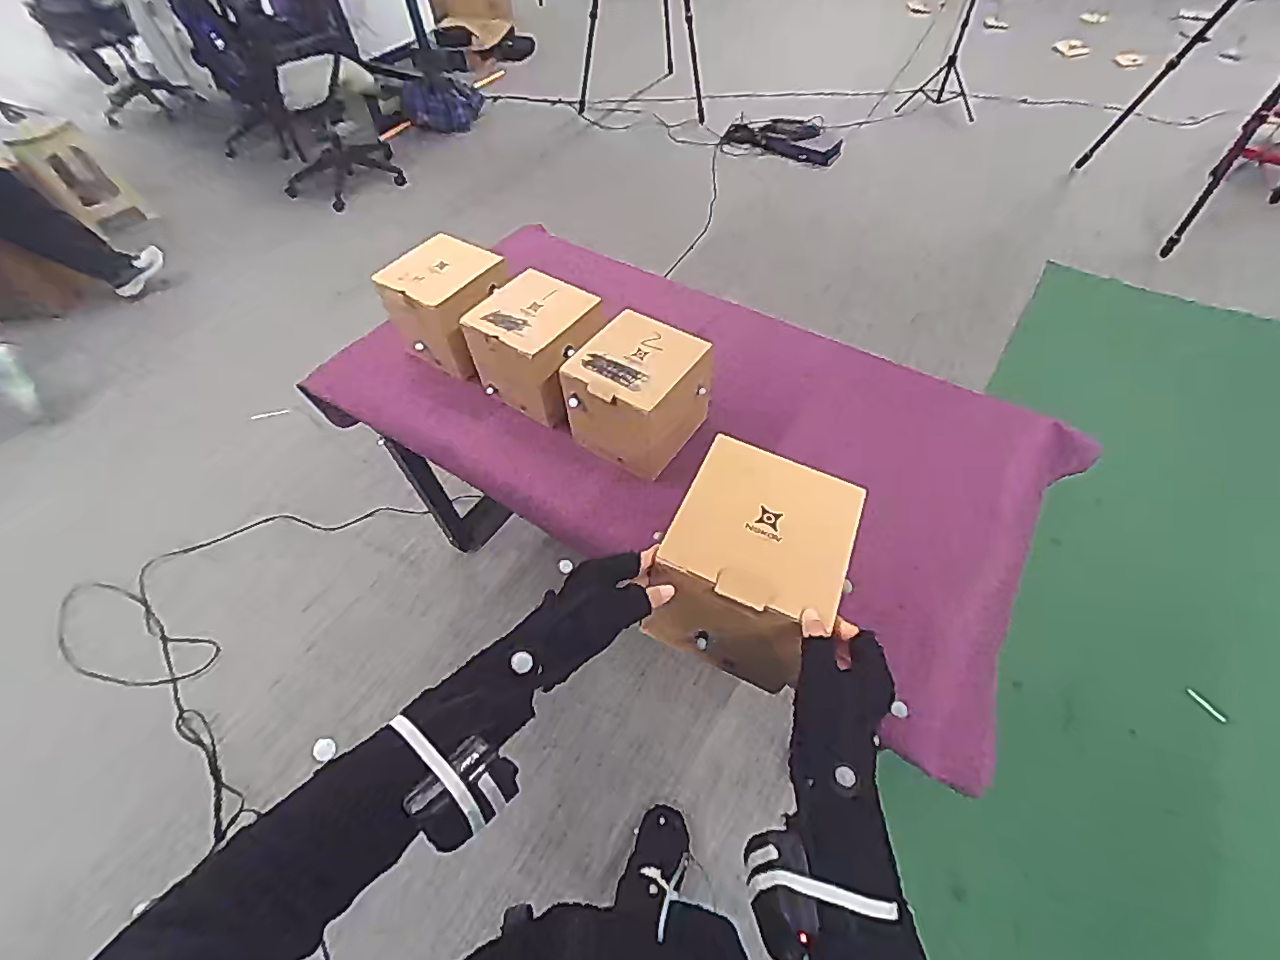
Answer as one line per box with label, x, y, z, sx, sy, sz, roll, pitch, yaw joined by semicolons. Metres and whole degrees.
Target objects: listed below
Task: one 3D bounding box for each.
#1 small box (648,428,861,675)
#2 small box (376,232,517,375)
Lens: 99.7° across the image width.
small box;0.116;0.081;0.594;0.168;0.176;0.179;23;55;11
small box;-0.356;-0.336;1.037;0.168;0.176;0.179;28;61;21
